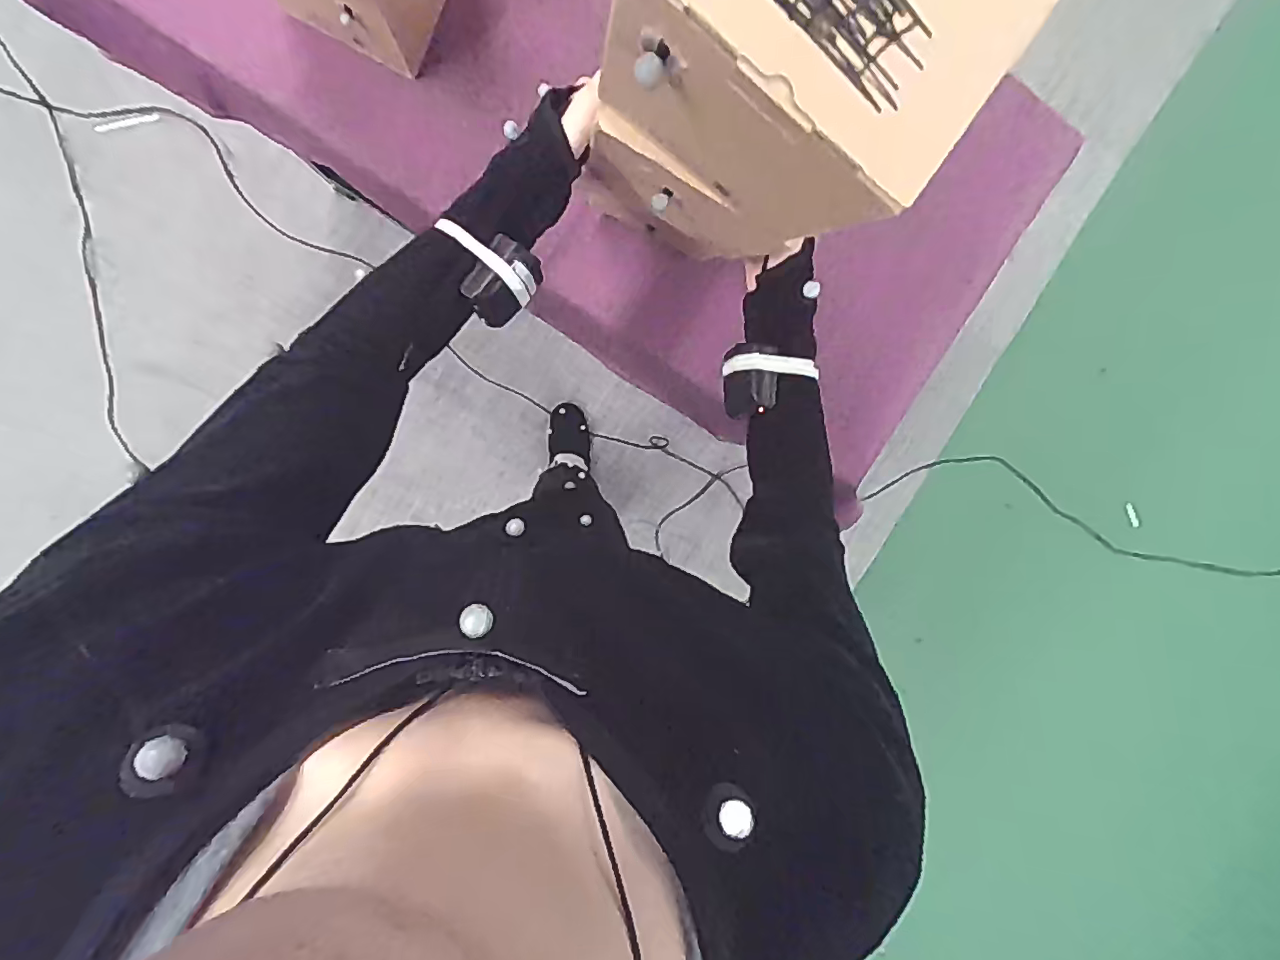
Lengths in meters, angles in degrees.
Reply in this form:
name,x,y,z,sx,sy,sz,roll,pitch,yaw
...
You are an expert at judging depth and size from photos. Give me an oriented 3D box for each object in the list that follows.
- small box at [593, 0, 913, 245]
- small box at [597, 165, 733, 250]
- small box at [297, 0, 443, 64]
name,x,y,z,sx,sy,sz,roll,pitch,yaw
small box,0.070,-0.314,0.450,0.179,0.176,0.168,25,105,-15
small box,0.056,-0.378,0.602,0.168,0.176,0.179,22,105,-14
small box,-0.304,-0.599,0.567,0.168,0.176,0.179,25,94,-10
